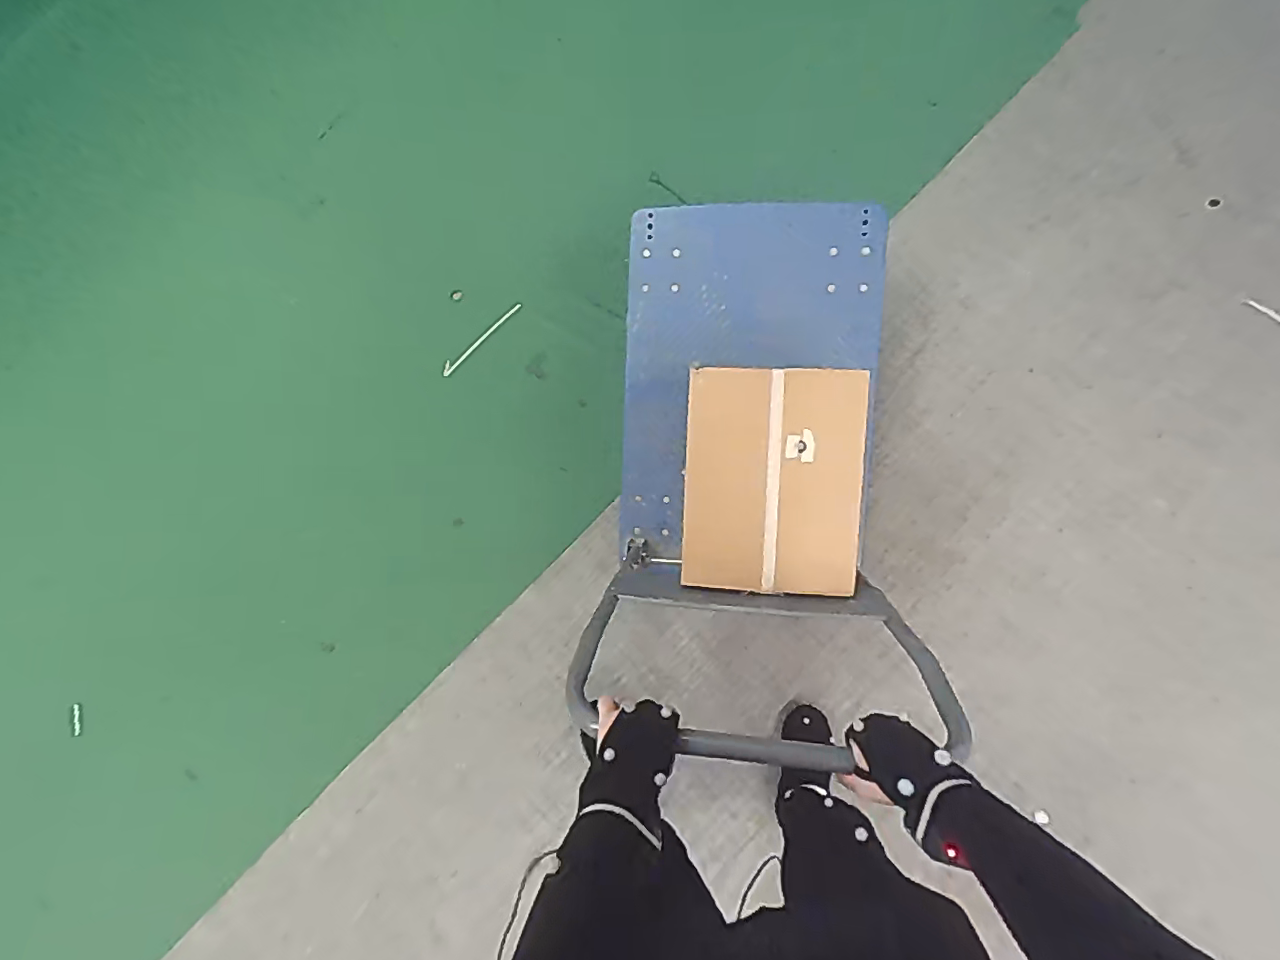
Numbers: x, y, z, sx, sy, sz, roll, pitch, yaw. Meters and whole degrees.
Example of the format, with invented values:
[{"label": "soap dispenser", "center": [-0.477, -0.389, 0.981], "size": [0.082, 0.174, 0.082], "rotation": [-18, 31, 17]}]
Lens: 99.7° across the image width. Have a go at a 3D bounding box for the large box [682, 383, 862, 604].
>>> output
[{"label": "large box", "center": [0.262, 0.017, 1.141], "size": [0.320, 0.320, 0.408], "rotation": [3, 94, 8]}]
